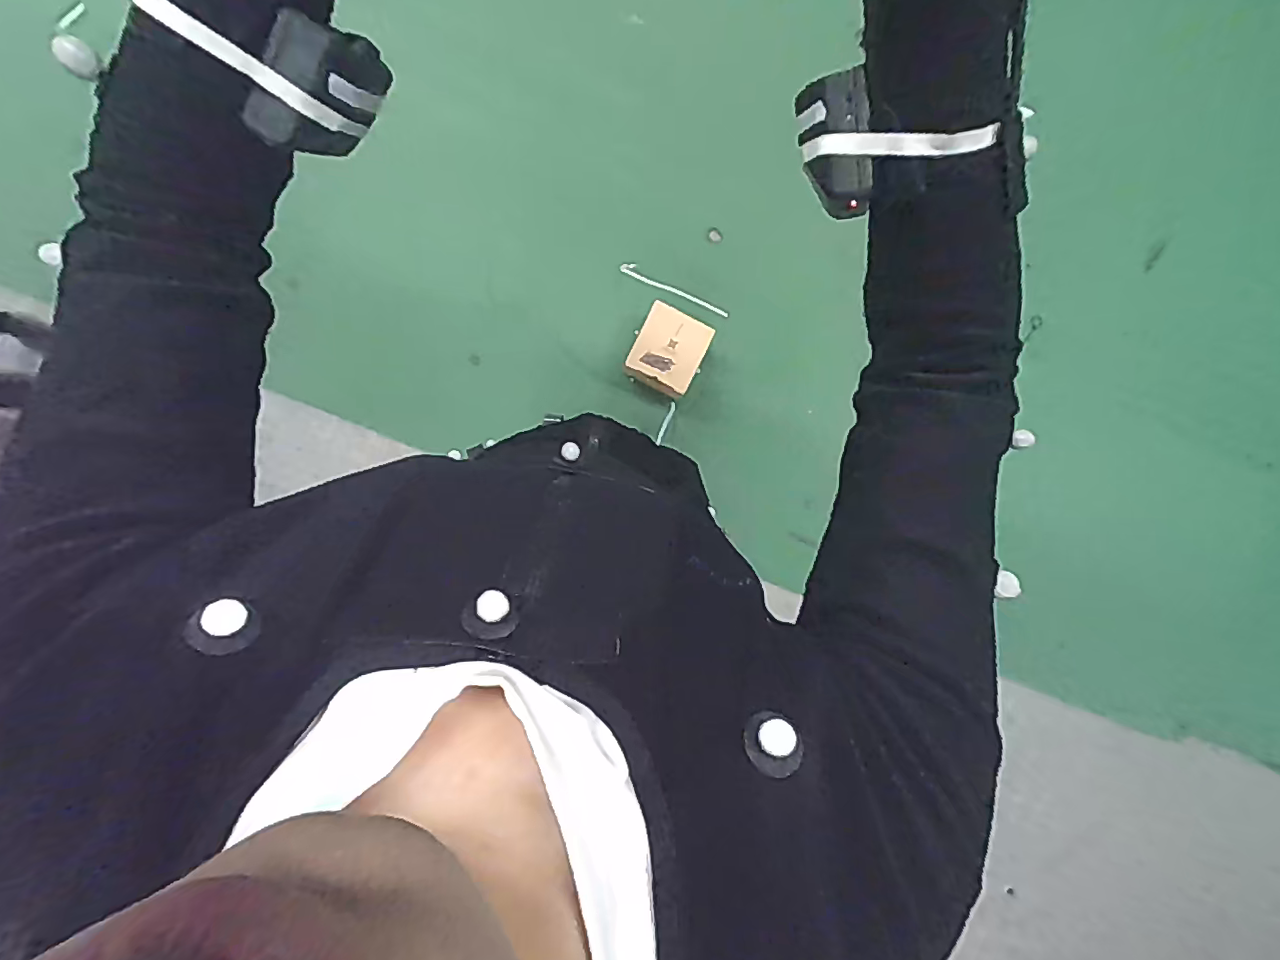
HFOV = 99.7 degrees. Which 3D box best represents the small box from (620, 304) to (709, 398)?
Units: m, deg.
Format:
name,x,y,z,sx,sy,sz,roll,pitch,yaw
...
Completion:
name,x,y,z,sx,sy,sz,roll,pitch,yaw
small box,0.056,-0.321,1.385,0.168,0.176,0.179,23,94,-5
